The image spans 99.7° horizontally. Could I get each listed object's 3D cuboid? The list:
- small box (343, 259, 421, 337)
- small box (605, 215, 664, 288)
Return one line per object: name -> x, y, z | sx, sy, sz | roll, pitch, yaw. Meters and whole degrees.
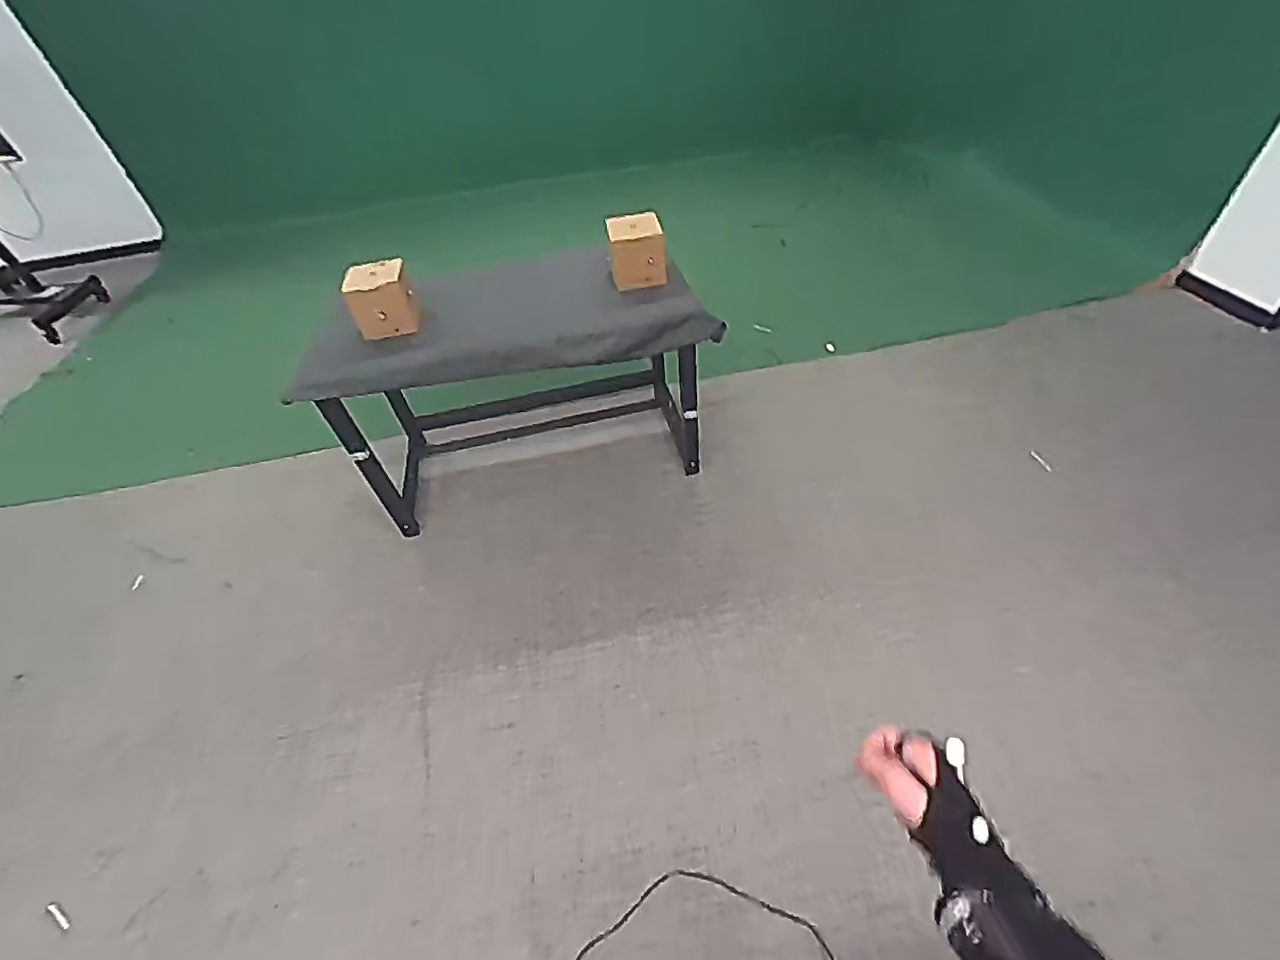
small box -> -0.801, -0.563, 1.696 | 0.168, 0.176, 0.179 | -12, 47, -6
small box -> -0.016, -0.740, 1.768 | 0.168, 0.176, 0.179 | -9, 45, -3
